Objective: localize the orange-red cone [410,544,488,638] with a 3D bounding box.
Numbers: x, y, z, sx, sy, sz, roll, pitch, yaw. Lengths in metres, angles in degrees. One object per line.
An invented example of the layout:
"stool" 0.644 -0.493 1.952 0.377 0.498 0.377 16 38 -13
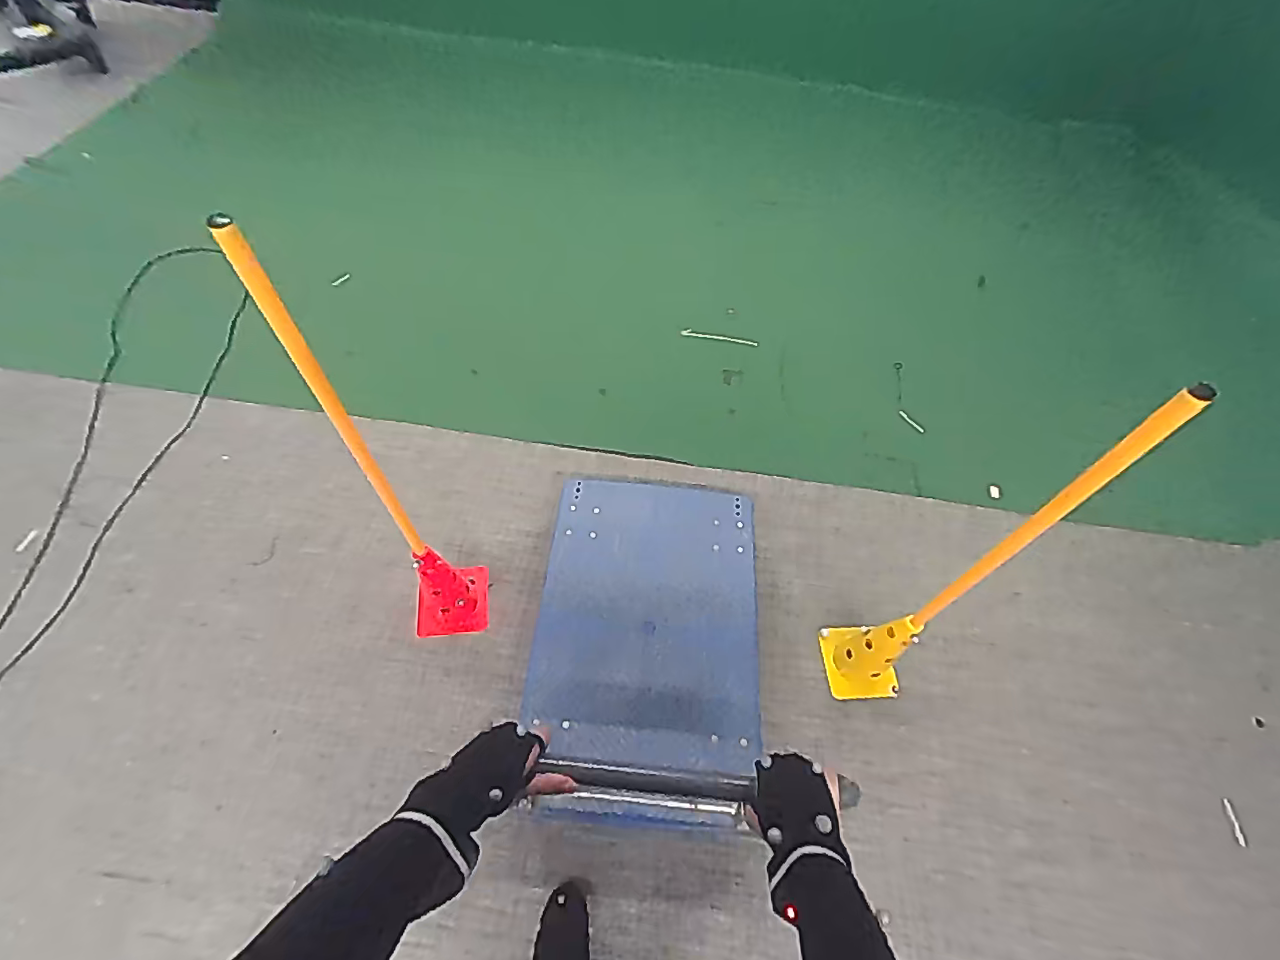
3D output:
"orange-red cone" -0.539 0.264 1.425 0.199 0.360 0.198 -4 58 -6
